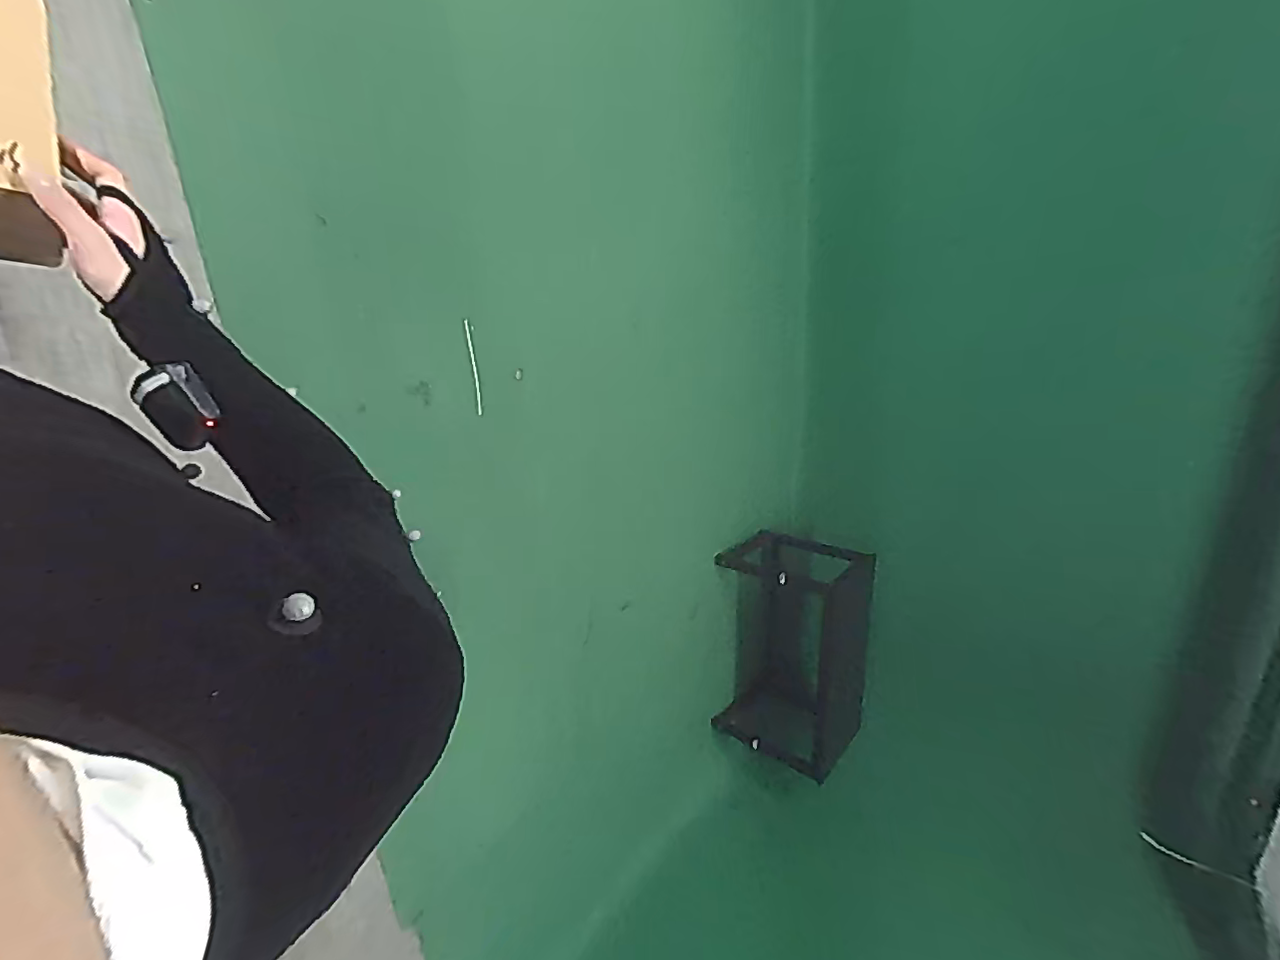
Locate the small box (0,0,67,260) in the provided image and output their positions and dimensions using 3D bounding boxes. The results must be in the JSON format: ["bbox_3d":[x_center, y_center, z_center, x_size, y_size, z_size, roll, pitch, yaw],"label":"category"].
[{"bbox_3d":[-0.594,-0.308,0.439,0.168,0.176,0.179,-5,91,-47],"label":"small box"}]
